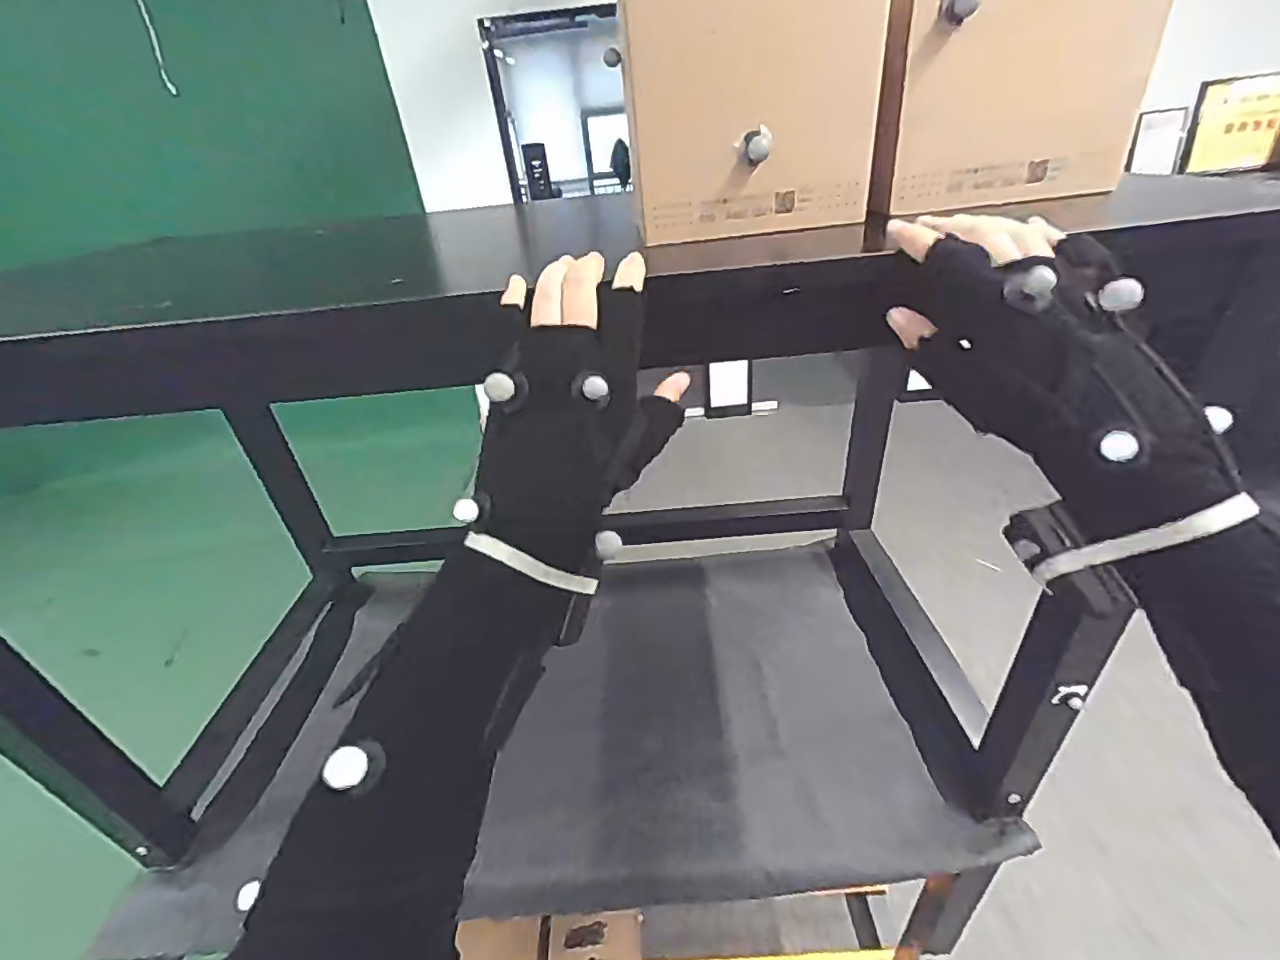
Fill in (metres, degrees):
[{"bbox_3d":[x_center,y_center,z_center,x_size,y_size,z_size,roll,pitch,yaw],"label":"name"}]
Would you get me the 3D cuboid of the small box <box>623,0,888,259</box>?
[{"bbox_3d":[0.075,-0.285,0.440,0.168,0.176,0.179,-6,32,1],"label":"small box"}]
